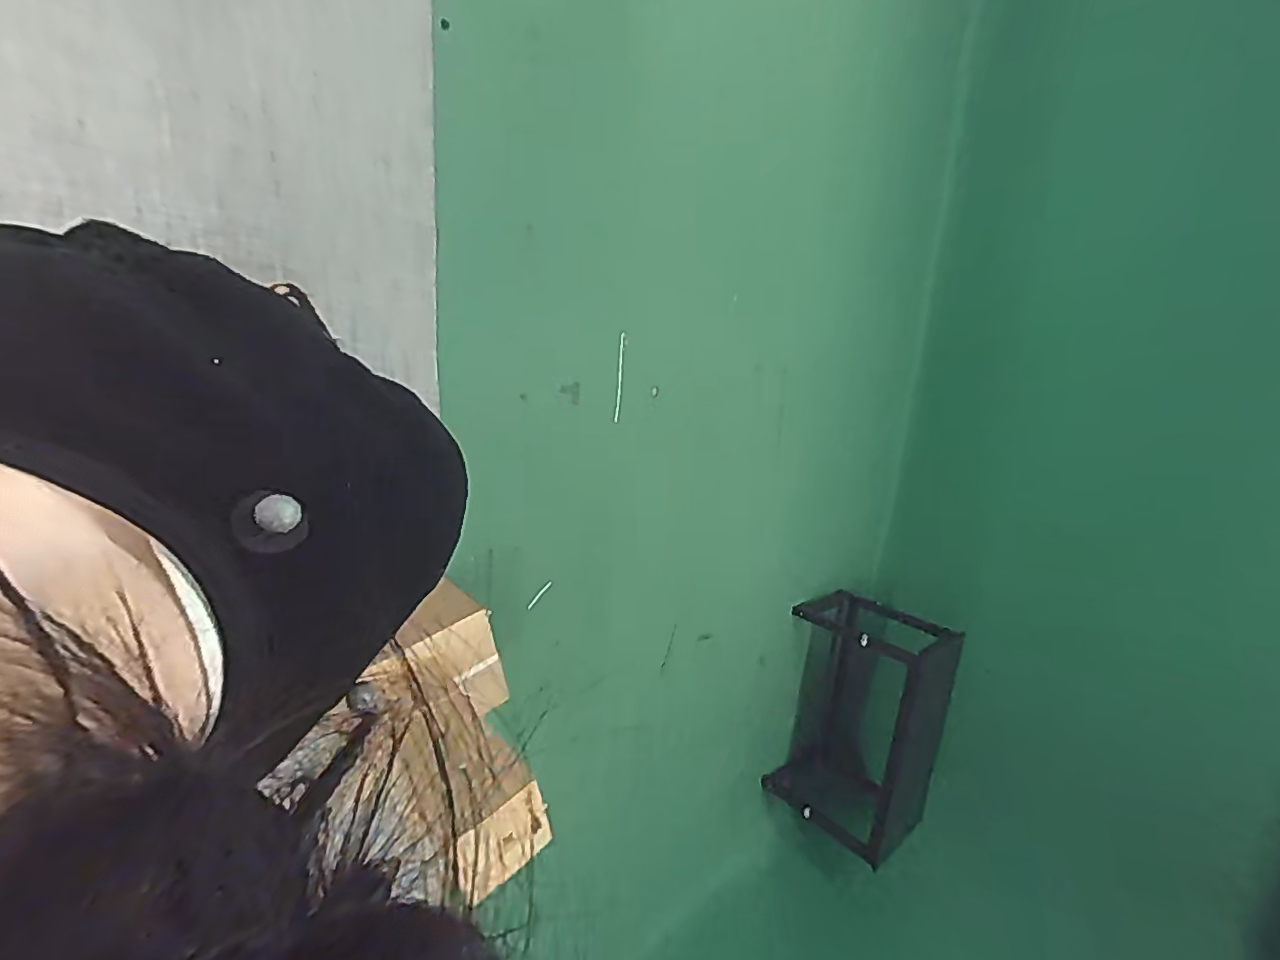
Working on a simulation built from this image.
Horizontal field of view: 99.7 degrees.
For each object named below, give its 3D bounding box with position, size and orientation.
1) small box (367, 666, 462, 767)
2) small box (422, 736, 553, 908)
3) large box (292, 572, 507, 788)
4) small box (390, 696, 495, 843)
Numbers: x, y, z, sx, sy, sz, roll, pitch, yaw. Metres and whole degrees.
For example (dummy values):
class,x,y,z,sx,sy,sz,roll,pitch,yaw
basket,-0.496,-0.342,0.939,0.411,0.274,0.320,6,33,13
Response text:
class,x,y,z,sx,sy,sz,roll,pitch,yaw
small box,-0.511,0.561,1.259,0.168,0.176,0.179,-23,117,-36
small box,-0.294,0.633,1.023,0.179,0.176,0.168,-23,117,-35
large box,-0.639,0.509,1.464,0.408,0.320,0.320,-25,119,-37
small box,-0.405,0.598,1.140,0.179,0.176,0.168,-25,117,-36
